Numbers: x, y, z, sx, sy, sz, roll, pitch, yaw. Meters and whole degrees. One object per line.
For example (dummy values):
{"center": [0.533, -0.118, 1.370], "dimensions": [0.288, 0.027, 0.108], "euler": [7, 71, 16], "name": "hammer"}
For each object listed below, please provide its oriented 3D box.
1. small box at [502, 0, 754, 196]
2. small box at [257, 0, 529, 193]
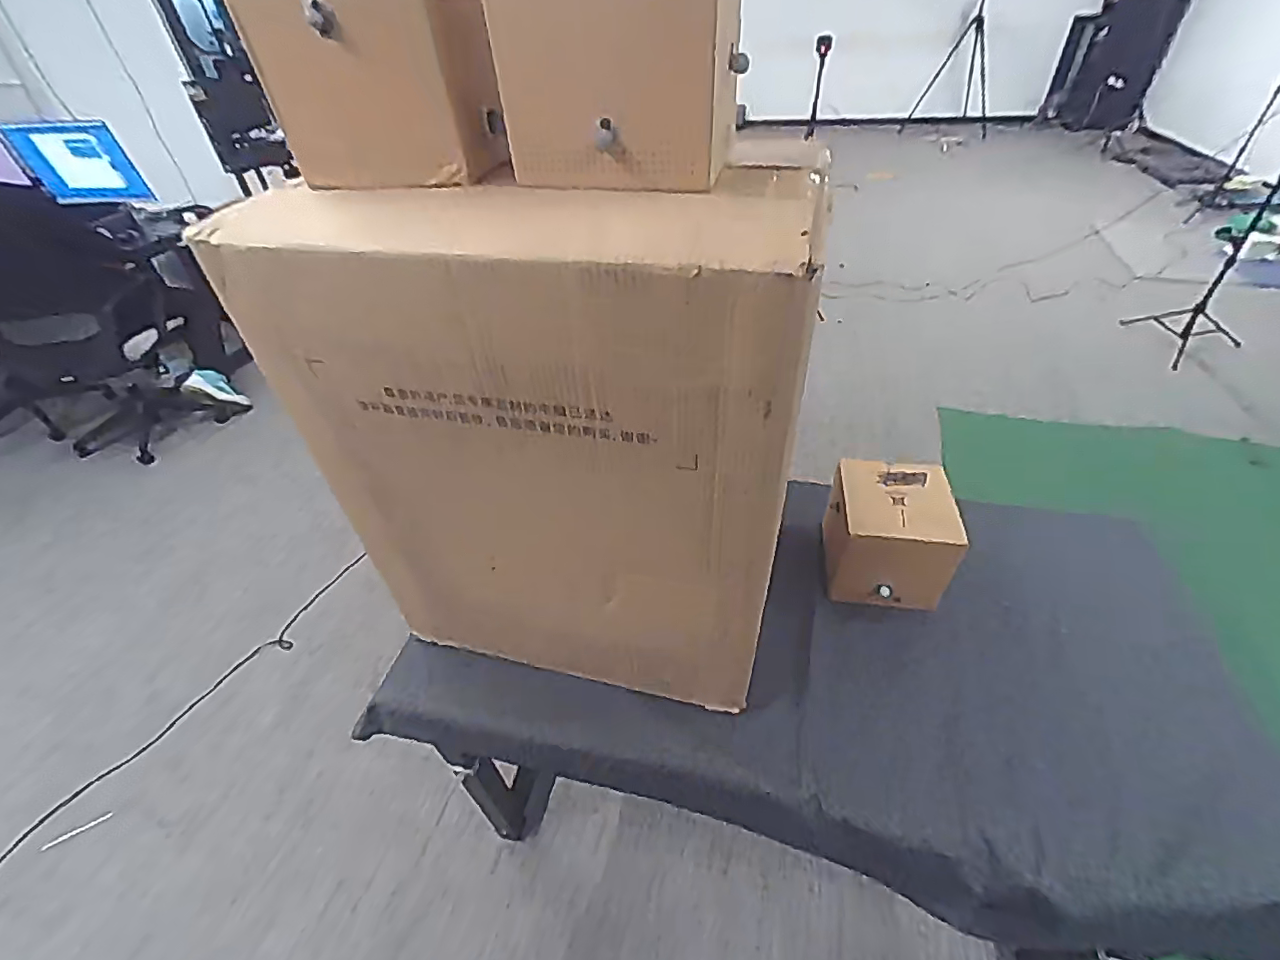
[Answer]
{"center": [0.002, -0.361, 0.472], "dimensions": [0.179, 0.176, 0.168], "euler": [8, 44, 12], "name": "small box"}
{"center": [-0.214, -0.389, 0.518], "dimensions": [0.179, 0.176, 0.168], "euler": [6, 46, 10], "name": "small box"}
